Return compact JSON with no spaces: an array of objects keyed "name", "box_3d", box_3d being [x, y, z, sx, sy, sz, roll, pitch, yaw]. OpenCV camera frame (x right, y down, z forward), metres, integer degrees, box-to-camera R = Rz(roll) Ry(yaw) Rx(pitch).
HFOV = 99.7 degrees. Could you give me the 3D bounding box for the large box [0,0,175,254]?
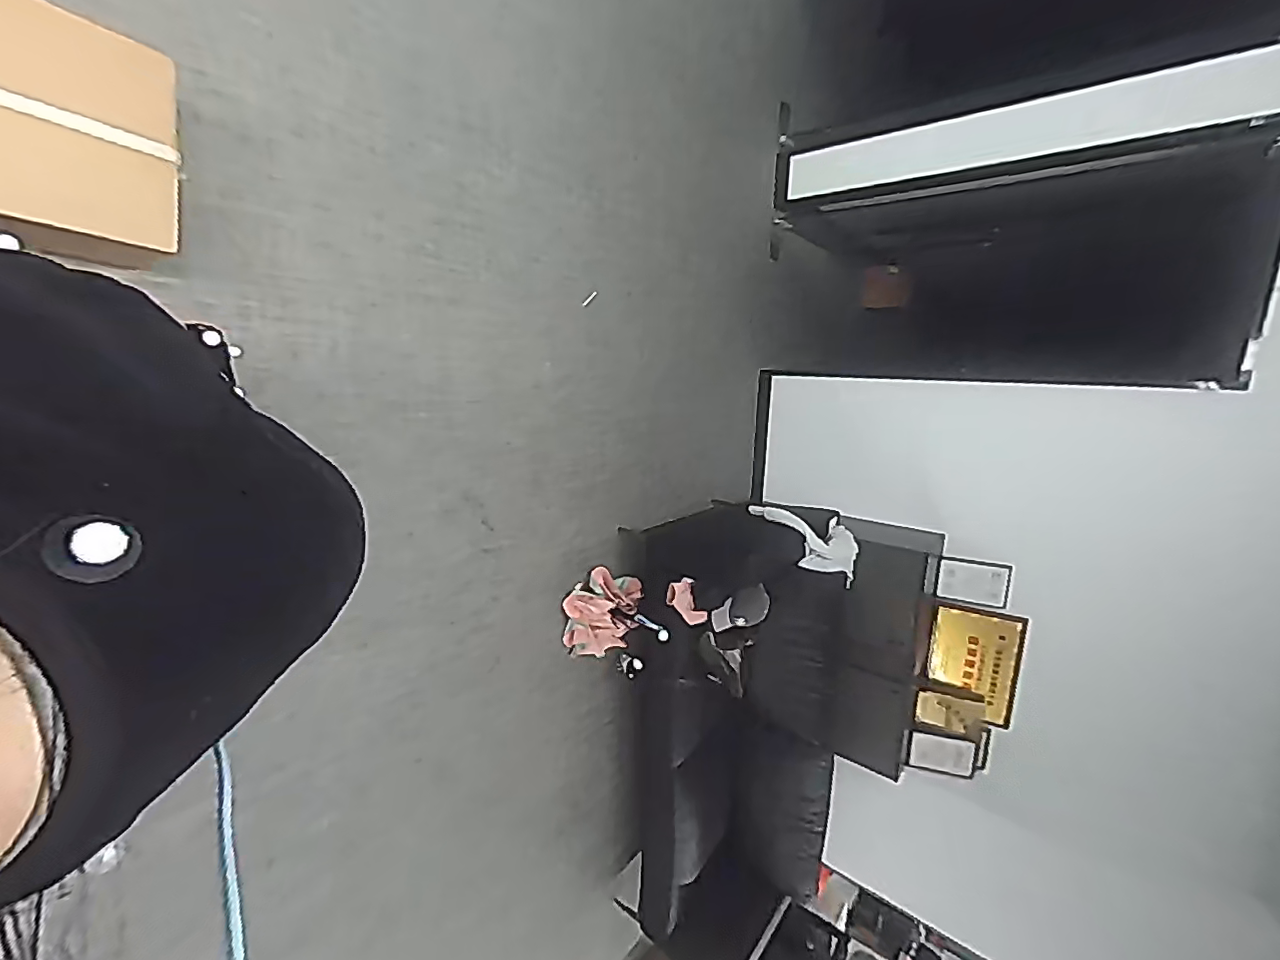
[{"name":"large box","box_3d":[-1.027,-0.575,0.852,0.408,0.320,0.320,-3,101,-51]}]
